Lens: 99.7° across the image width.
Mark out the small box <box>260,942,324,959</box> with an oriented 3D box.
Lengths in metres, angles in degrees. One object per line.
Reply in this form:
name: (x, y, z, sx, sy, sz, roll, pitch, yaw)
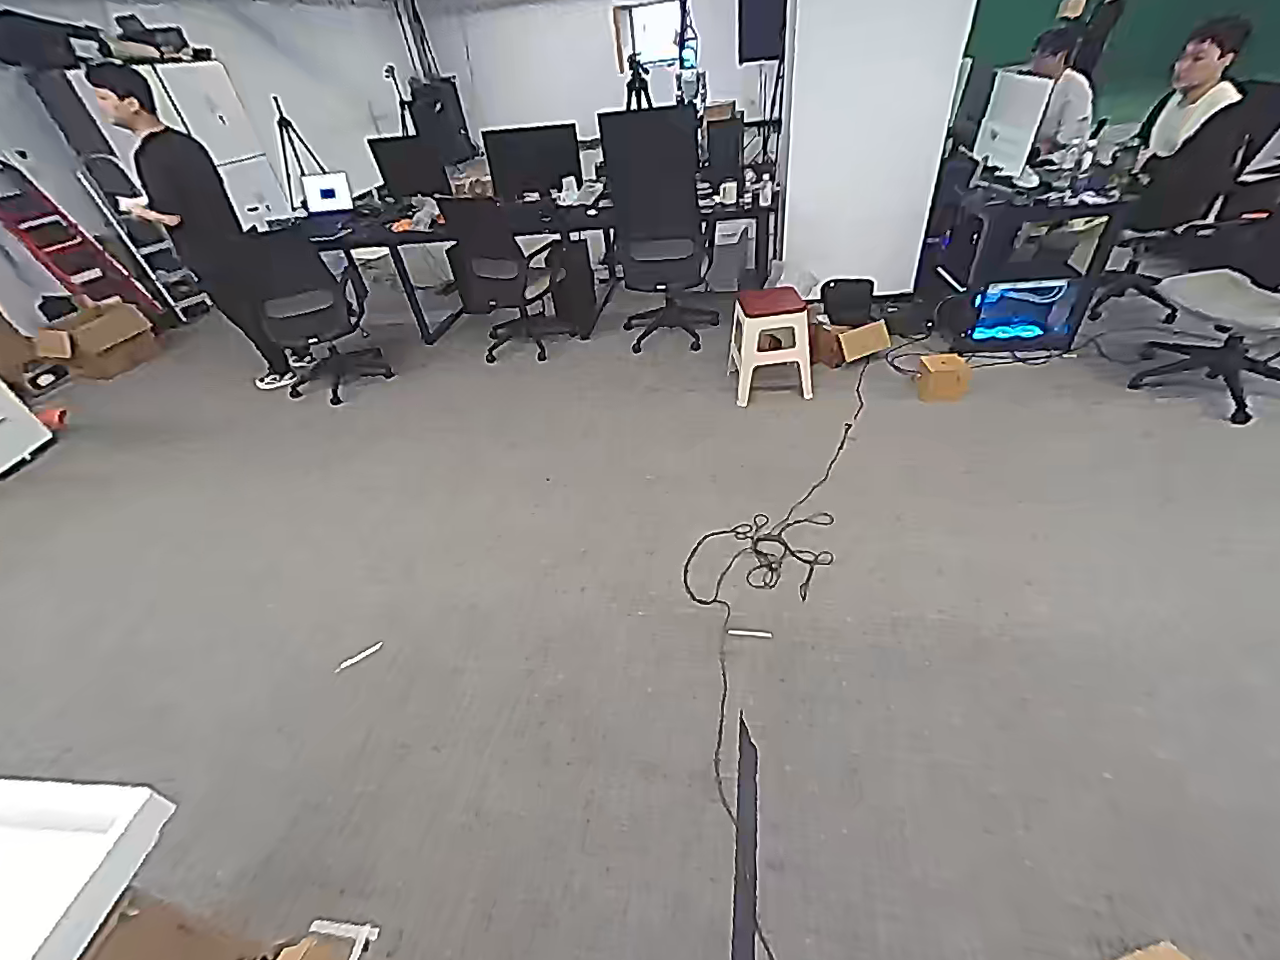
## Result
small box: (-0.402, 0.658, 0.577, 0.168, 0.176, 0.179, -29, 13, 17)
